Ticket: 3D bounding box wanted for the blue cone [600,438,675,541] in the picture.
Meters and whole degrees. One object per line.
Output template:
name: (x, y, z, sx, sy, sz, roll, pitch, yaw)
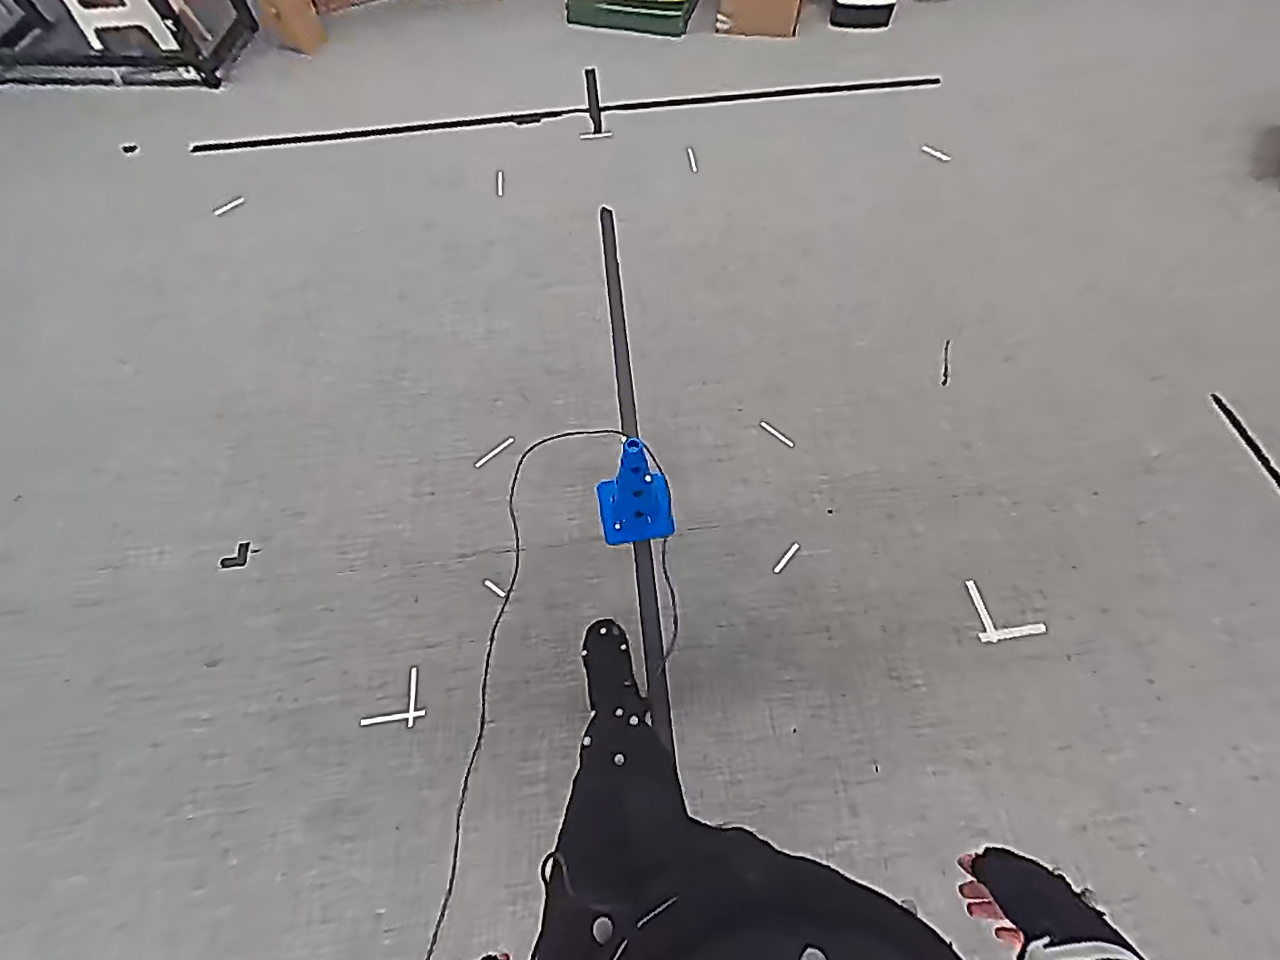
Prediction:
blue cone: (-0.005, -0.002, 1.371, 0.192, 0.380, 0.193, -11, 65, -5)
